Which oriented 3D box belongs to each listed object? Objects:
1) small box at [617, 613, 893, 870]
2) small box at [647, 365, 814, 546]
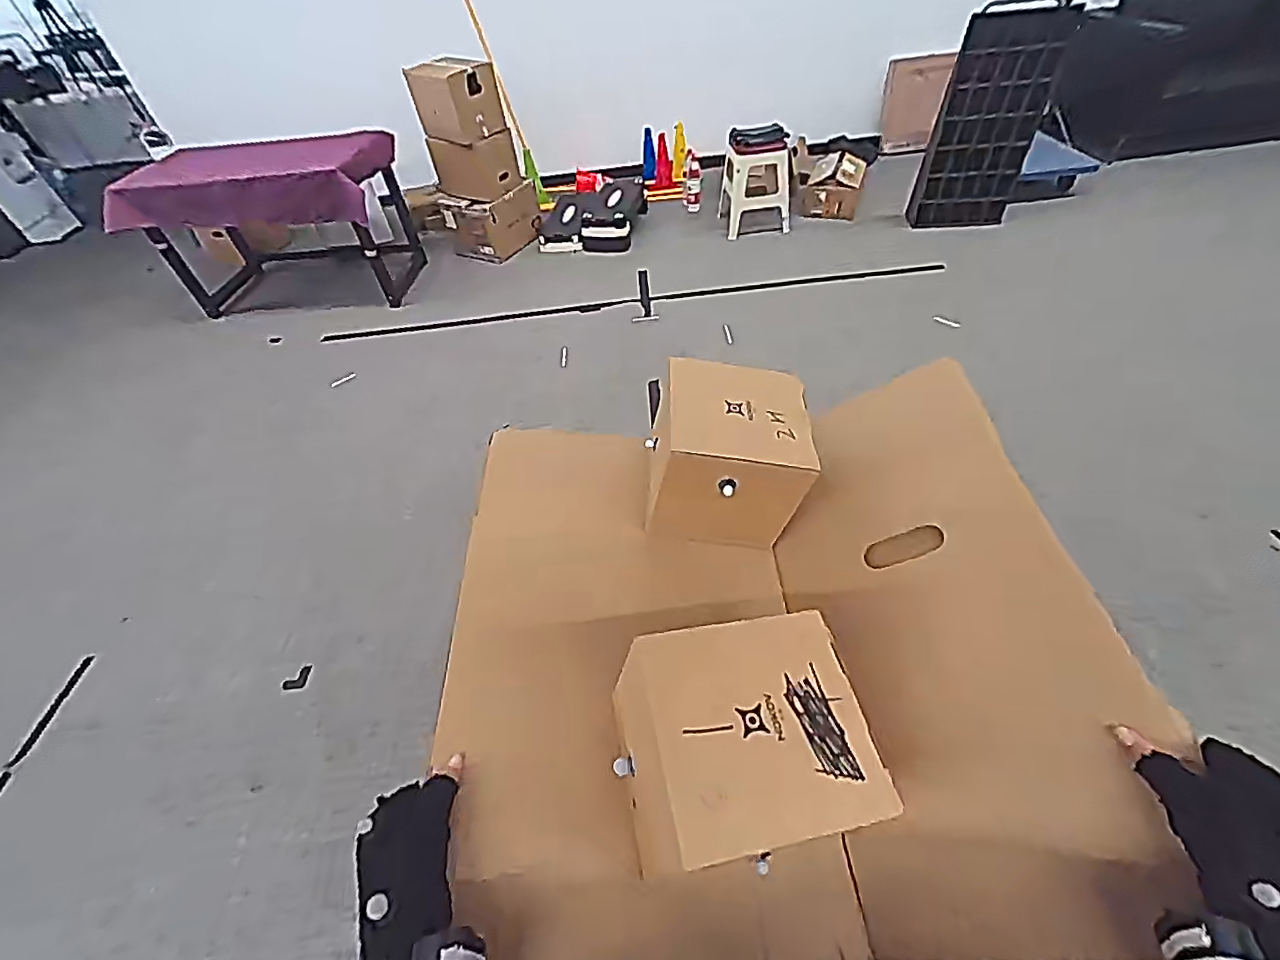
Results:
[{"bbox_3d":[0.084,0.242,0.501,0.179,0.176,0.168,-4,53,-14],"label":"small box"},{"bbox_3d":[0.107,-0.027,0.724,0.179,0.176,0.168,8,51,-5],"label":"small box"}]
